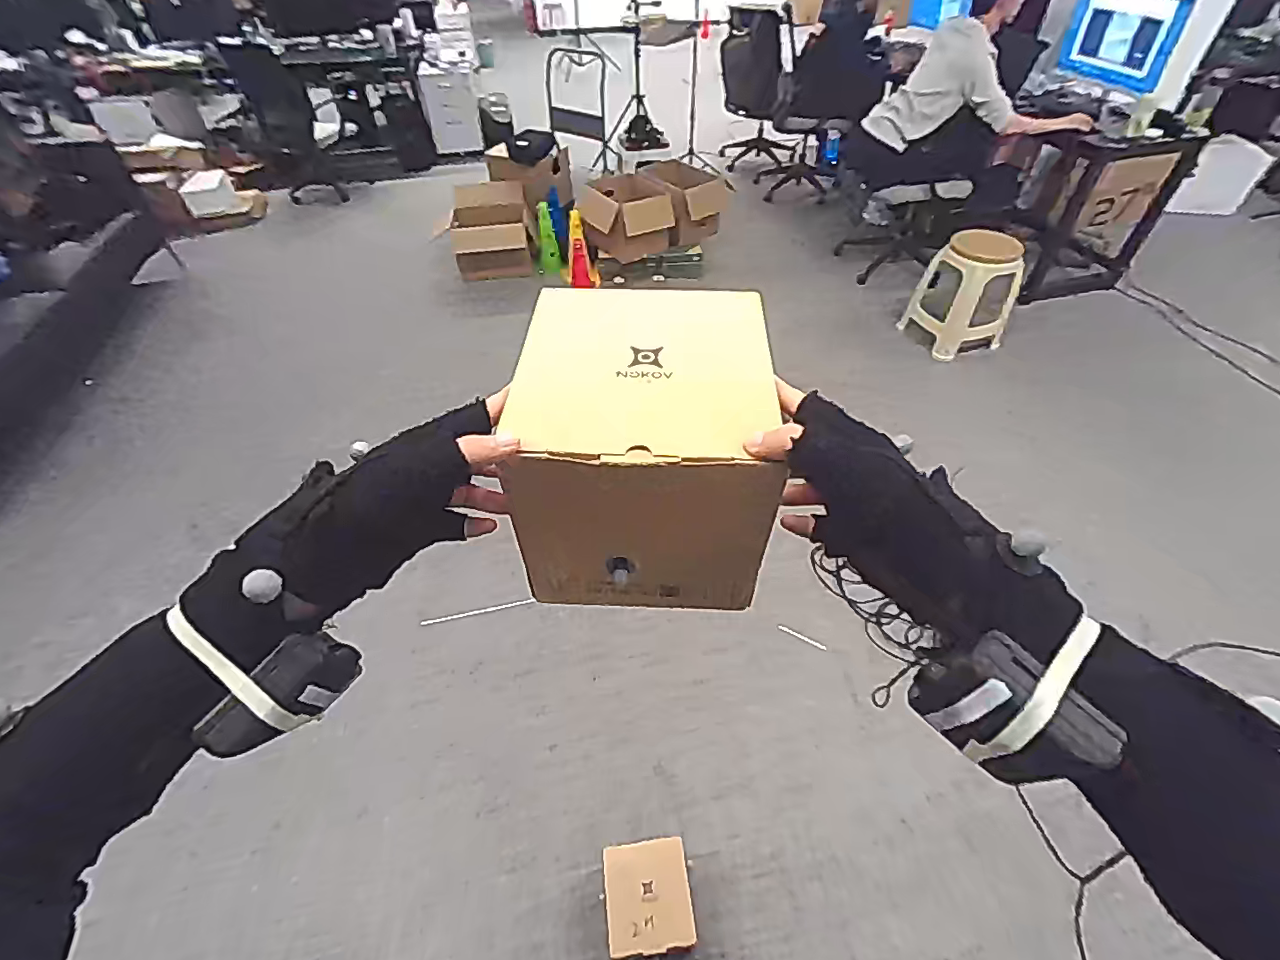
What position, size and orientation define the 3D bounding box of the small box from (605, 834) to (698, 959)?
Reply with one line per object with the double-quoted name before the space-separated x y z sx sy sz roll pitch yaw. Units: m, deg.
"small box" 0.020 0.864 1.119 0.168 0.176 0.179 -7 47 -4
